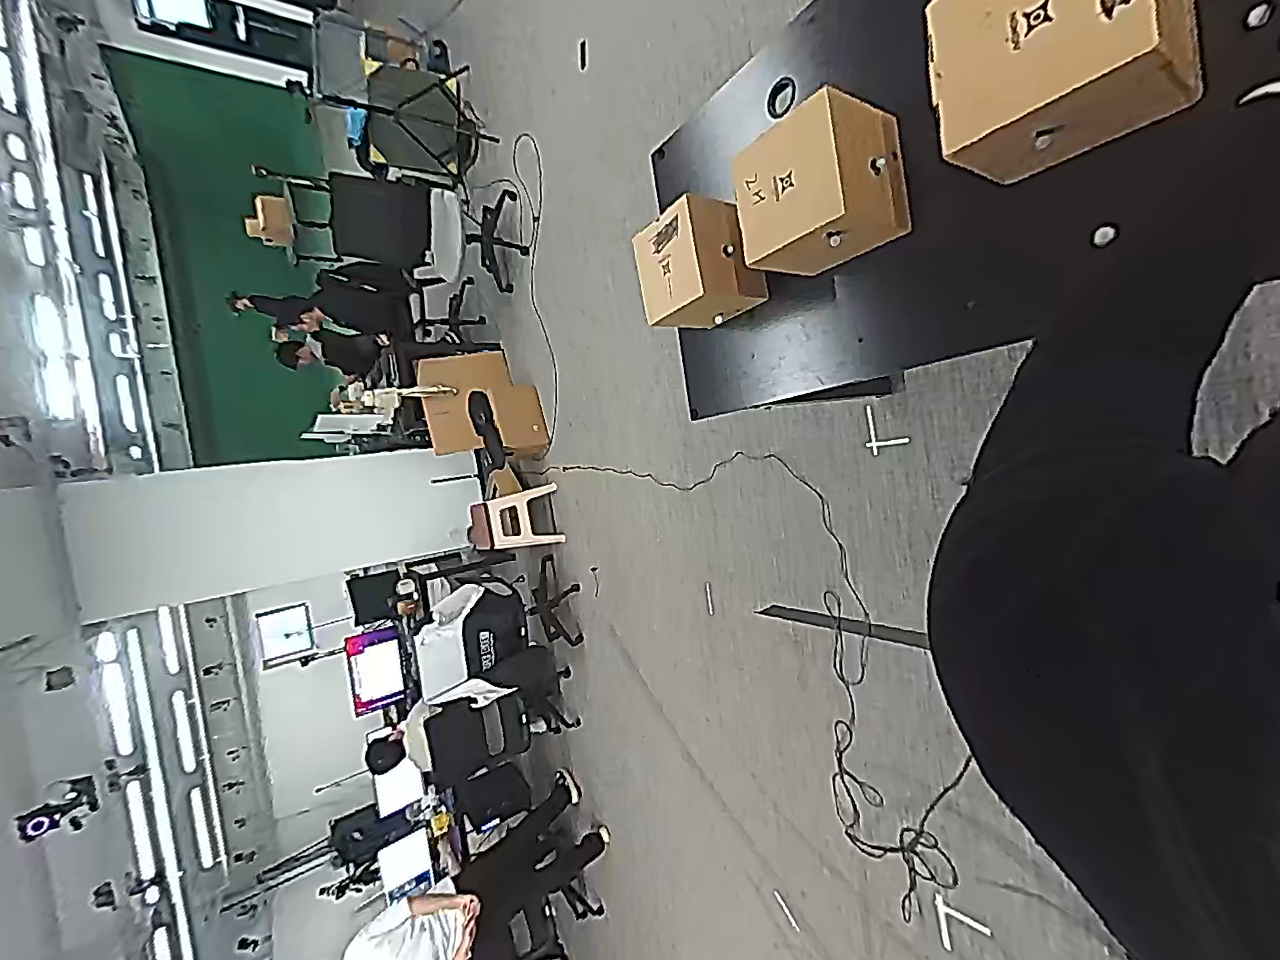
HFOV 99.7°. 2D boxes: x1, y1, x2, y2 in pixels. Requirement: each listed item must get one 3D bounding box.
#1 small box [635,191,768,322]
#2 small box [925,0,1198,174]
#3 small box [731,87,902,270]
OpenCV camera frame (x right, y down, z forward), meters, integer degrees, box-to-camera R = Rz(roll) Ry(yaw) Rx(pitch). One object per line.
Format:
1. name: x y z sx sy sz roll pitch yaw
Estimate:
1. small box: 0.116 -0.408 1.023 0.168 0.176 0.179 -10 91 56
2. small box: 0.432 -0.450 0.563 0.179 0.176 0.168 -4 95 56
3. small box: 0.266 -0.429 0.803 0.179 0.176 0.168 -8 91 55
